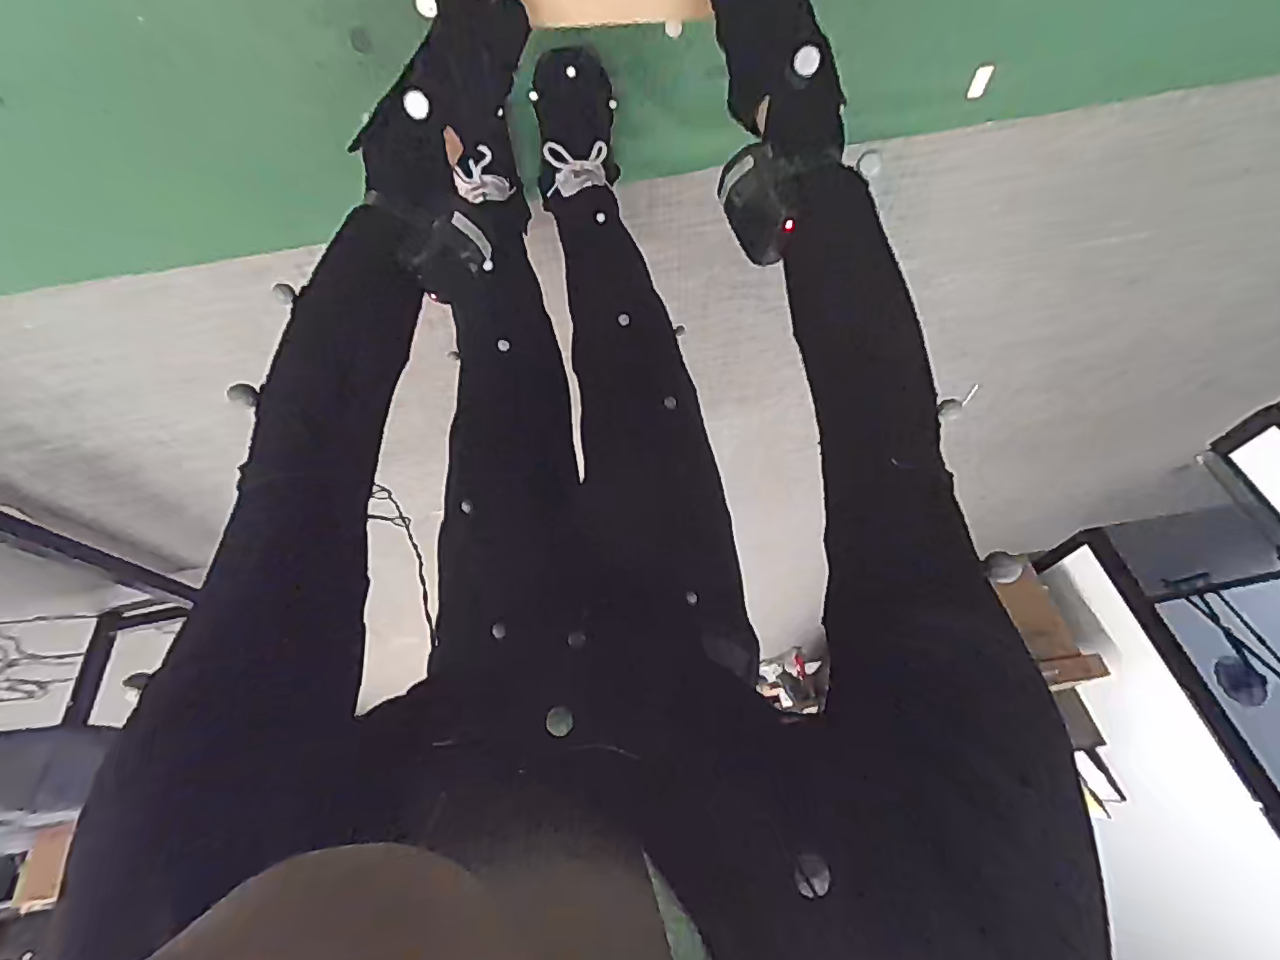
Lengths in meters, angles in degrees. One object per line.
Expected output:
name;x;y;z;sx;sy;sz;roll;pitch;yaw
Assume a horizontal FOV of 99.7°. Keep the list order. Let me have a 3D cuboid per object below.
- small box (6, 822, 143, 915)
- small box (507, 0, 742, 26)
small box;-1.517;1.044;1.465;0.168;0.176;0.179;-9;150;-3
small box;-0.016;-0.457;0.396;0.179;0.176;0.168;-3;139;-1
